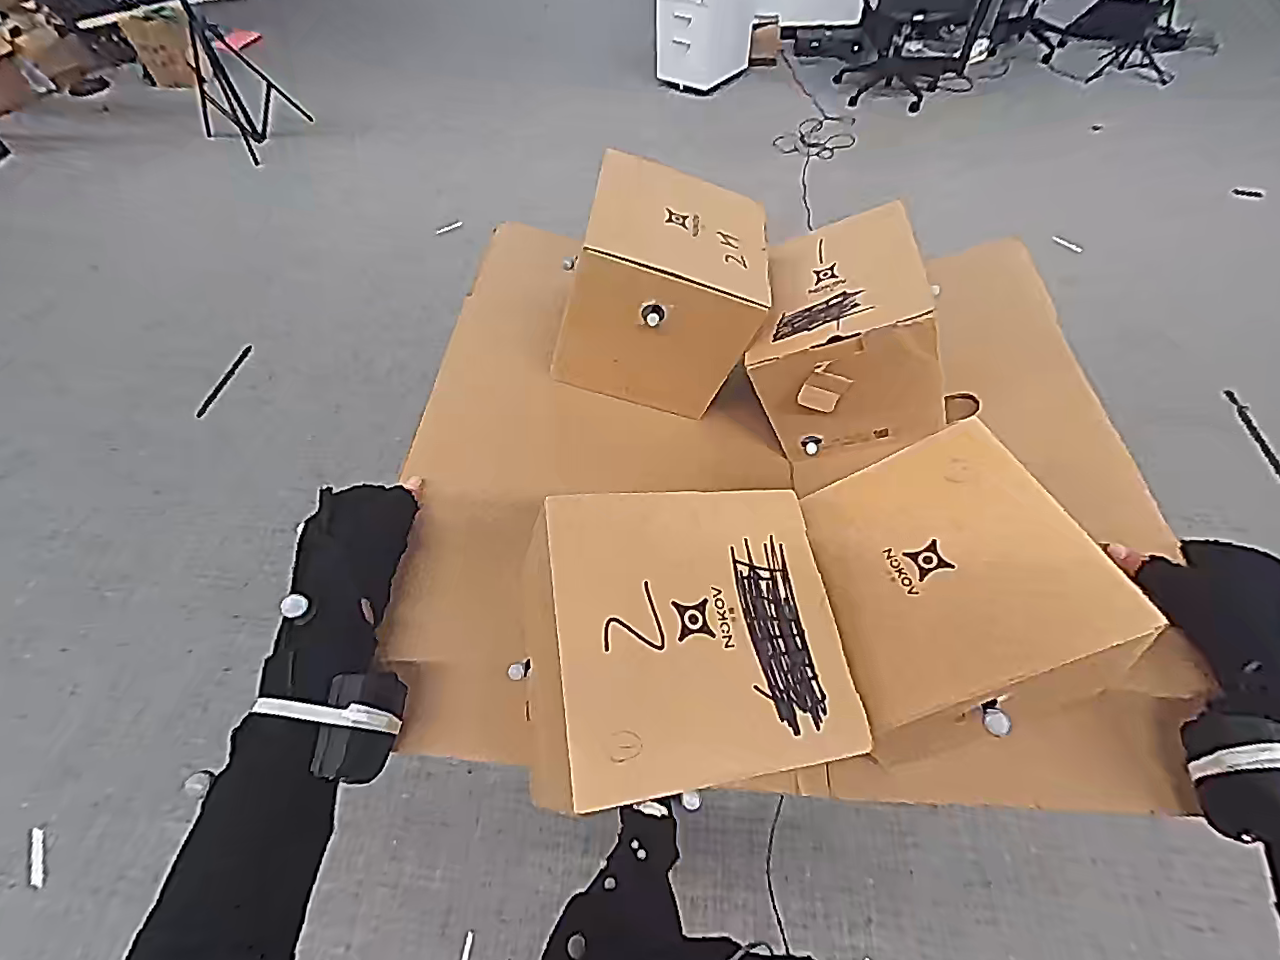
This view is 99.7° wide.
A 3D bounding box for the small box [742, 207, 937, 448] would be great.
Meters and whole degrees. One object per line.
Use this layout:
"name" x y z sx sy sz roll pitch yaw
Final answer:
"small box" 0.219 -0.152 0.597 0.168 0.176 0.179 -11 52 26
